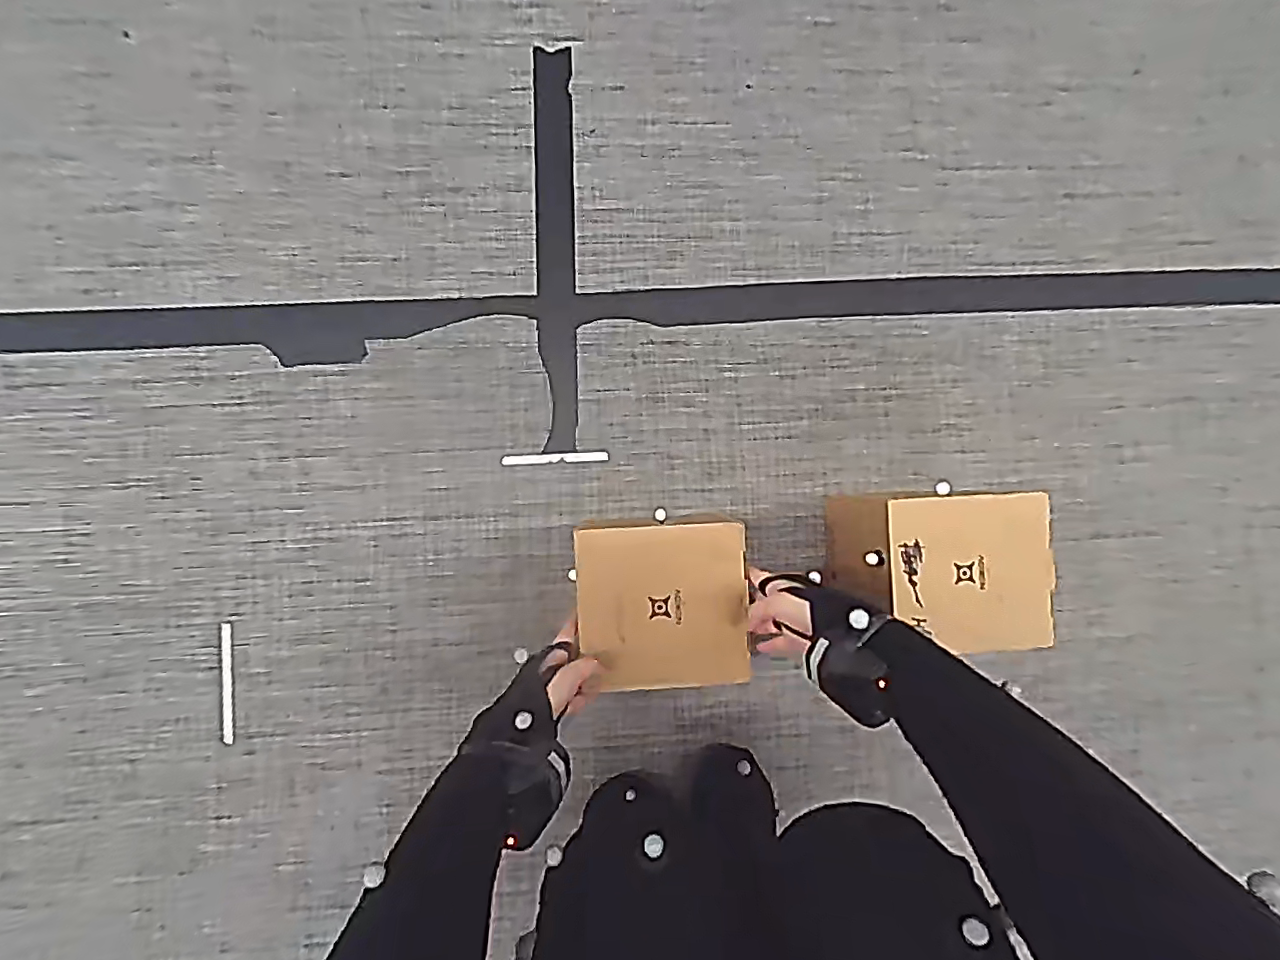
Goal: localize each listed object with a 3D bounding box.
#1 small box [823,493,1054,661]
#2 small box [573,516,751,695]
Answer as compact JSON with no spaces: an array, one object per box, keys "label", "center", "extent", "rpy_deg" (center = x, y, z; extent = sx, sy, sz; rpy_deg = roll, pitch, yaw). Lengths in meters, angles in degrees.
[{"label":"small box","center":[0.335,0.101,0.634],"extent":[0.179,0.176,0.168],"rpy_deg":[-2,89,-4]},{"label":"small box","center":[0.017,0.128,0.615],"extent":[0.179,0.176,0.168],"rpy_deg":[-2,88,-3]}]
